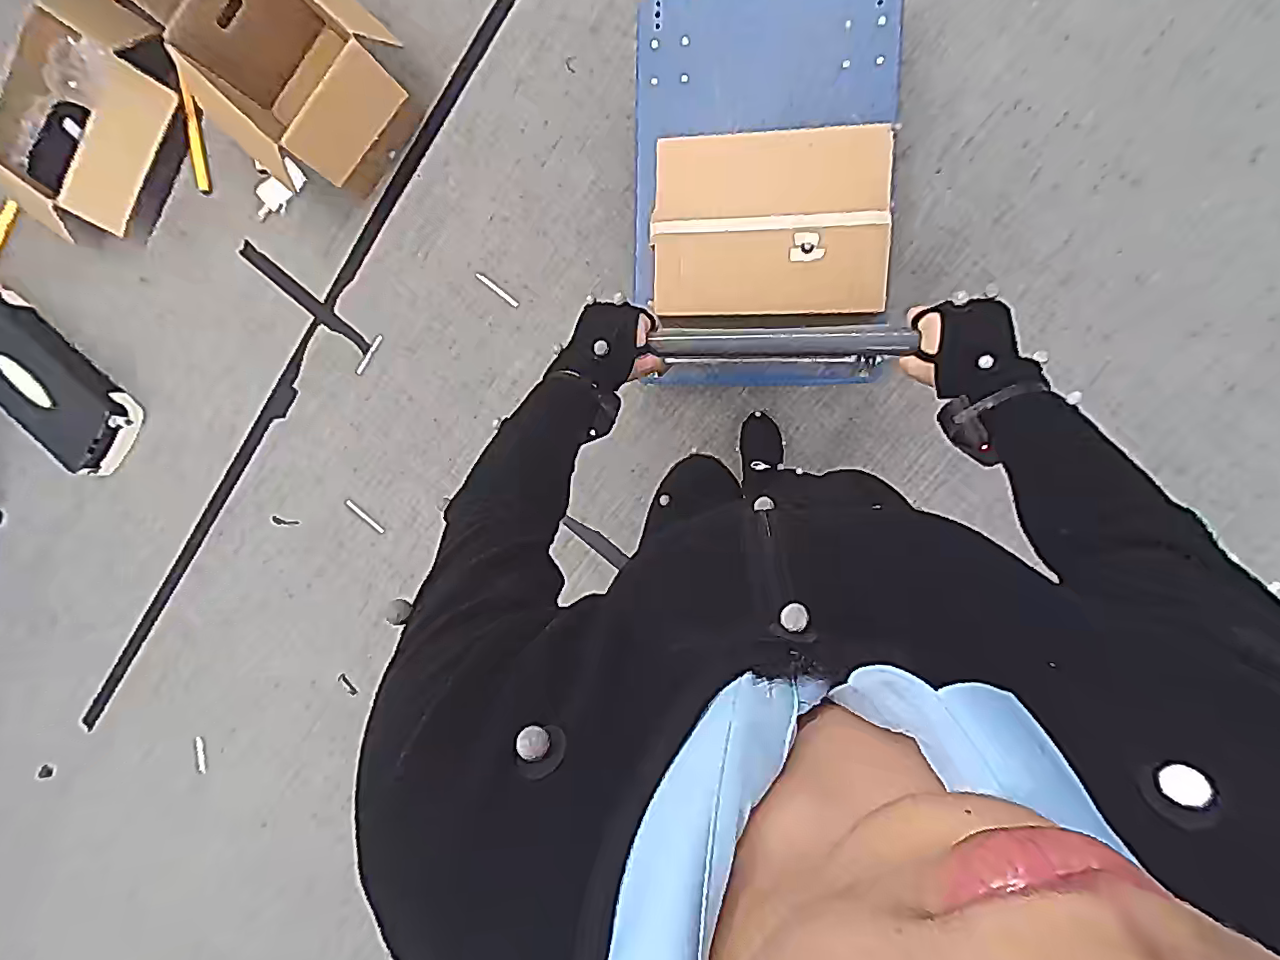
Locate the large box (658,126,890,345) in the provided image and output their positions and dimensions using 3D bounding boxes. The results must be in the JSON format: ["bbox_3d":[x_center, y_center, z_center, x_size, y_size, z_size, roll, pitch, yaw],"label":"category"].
[{"bbox_3d":[0.249,-0.462,1.103,0.408,0.320,0.320,1,96,8],"label":"large box"}]
